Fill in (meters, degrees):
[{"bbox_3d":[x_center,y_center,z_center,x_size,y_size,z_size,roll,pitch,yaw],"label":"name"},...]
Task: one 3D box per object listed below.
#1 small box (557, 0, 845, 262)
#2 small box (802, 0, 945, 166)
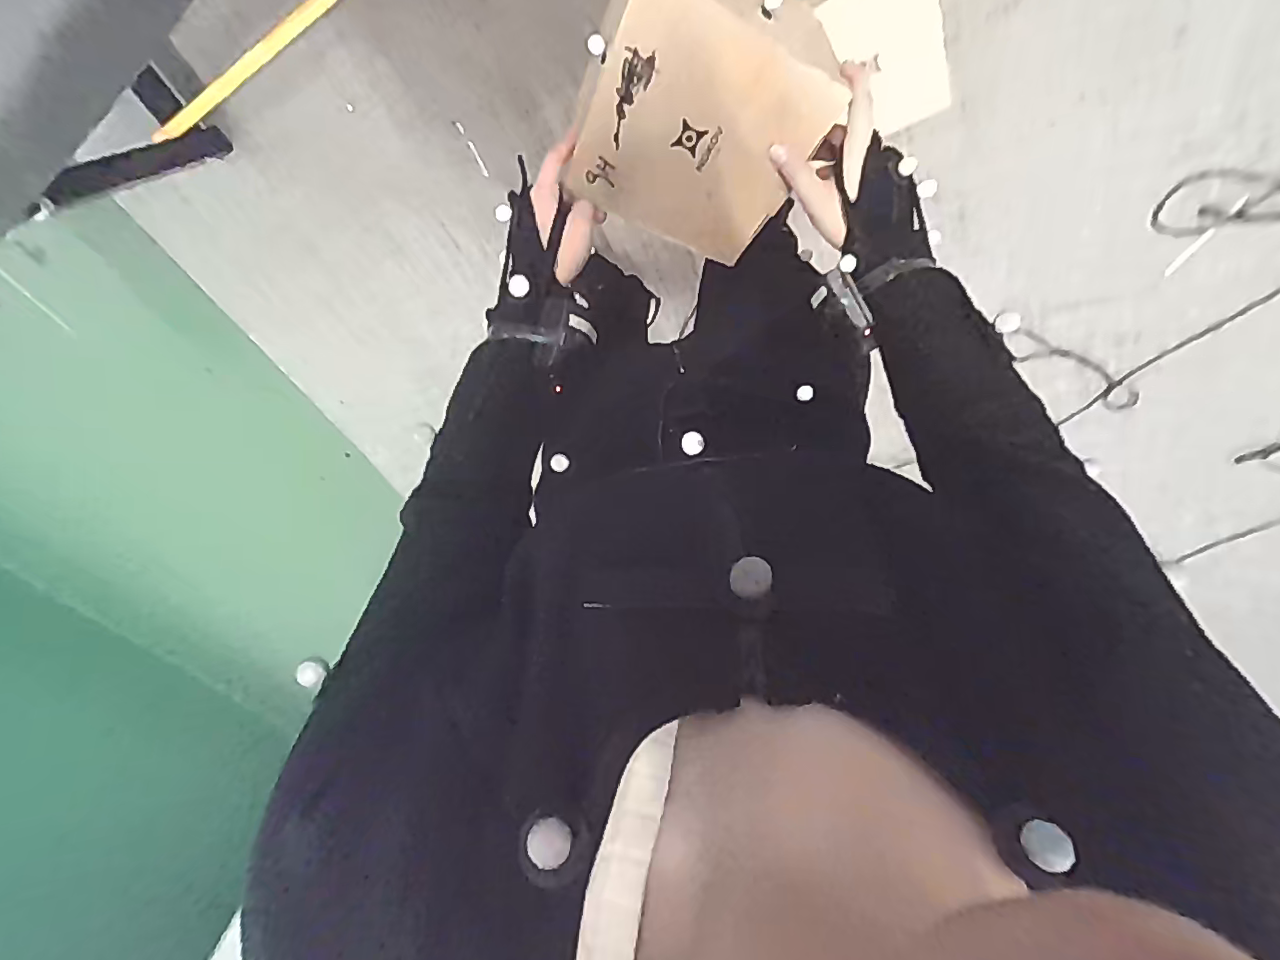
[{"bbox_3d":[0.041,-0.334,0.470,0.179,0.176,0.168,14,144,-21],"label":"small box"},{"bbox_3d":[0.288,-0.560,0.726,0.179,0.176,0.168,-14,127,26],"label":"small box"}]
